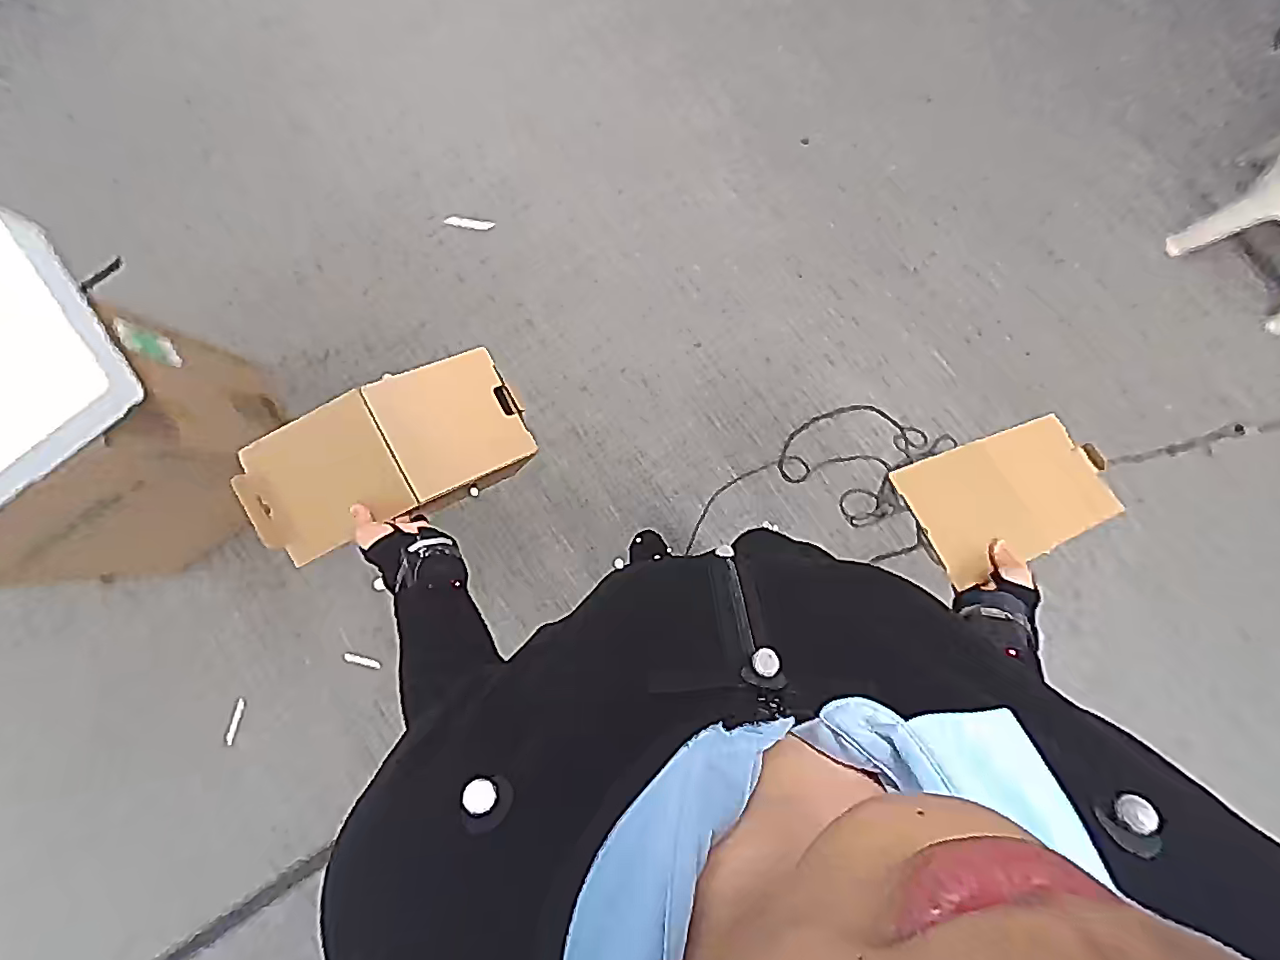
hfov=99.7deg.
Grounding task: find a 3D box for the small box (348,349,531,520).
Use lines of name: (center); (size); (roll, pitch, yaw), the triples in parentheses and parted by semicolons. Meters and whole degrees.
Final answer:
small box: (-0.284, -0.056, 0.768); (0.179, 0.176, 0.168); (-29, 92, -28)
